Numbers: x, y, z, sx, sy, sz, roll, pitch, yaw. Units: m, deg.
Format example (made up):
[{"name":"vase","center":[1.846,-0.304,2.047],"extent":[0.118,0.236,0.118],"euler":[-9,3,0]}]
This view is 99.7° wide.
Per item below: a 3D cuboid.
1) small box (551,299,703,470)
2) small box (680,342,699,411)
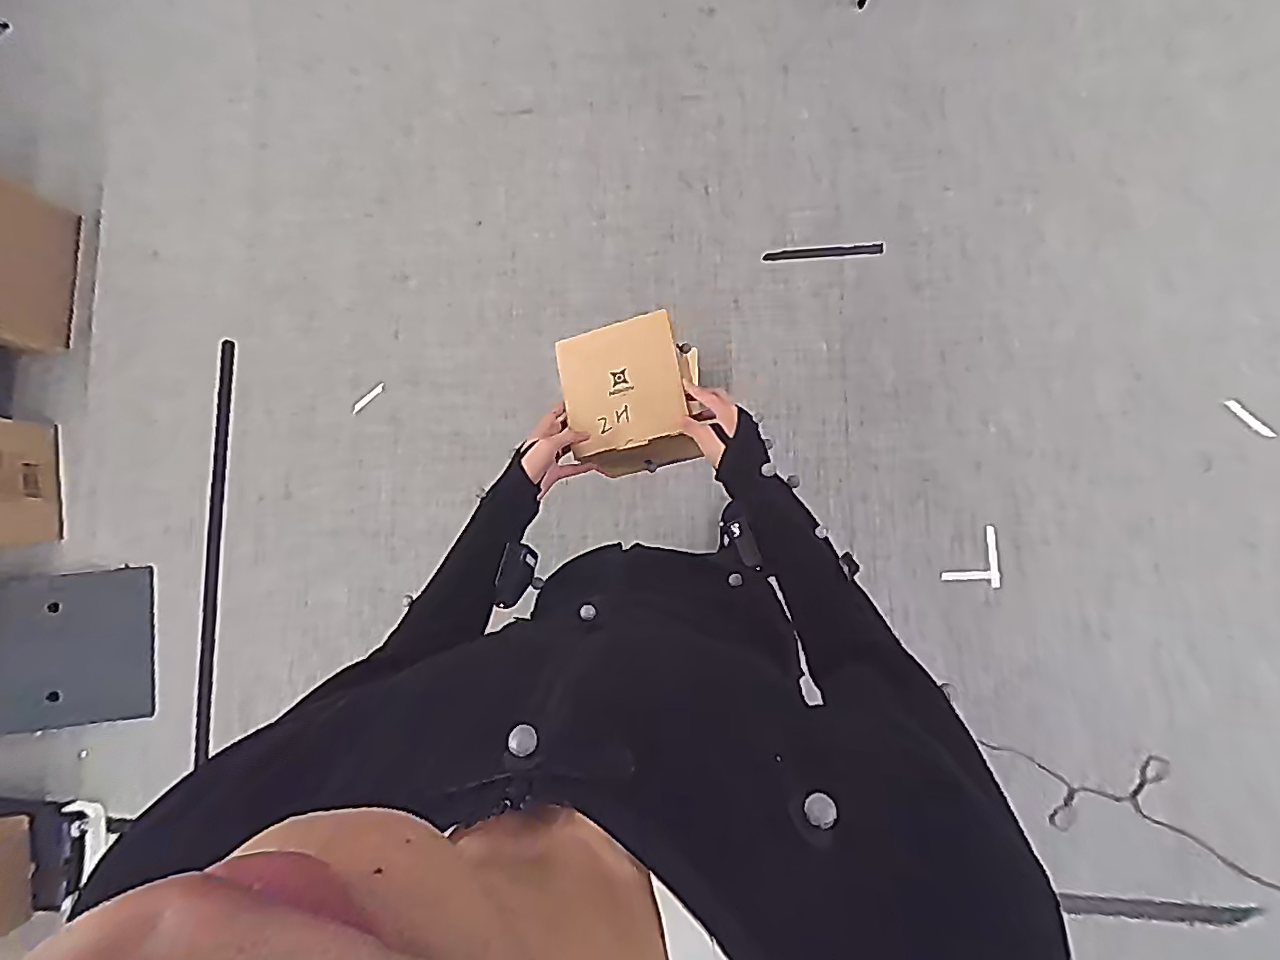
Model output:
[{"name":"small box","center":[-0.012,-0.127,0.786],"extent":[0.168,0.176,0.179],"euler":[-14,78,12]},{"name":"small box","center":[0.088,-0.292,1.591],"extent":[0.168,0.176,0.179],"euler":[-1,85,7]}]
